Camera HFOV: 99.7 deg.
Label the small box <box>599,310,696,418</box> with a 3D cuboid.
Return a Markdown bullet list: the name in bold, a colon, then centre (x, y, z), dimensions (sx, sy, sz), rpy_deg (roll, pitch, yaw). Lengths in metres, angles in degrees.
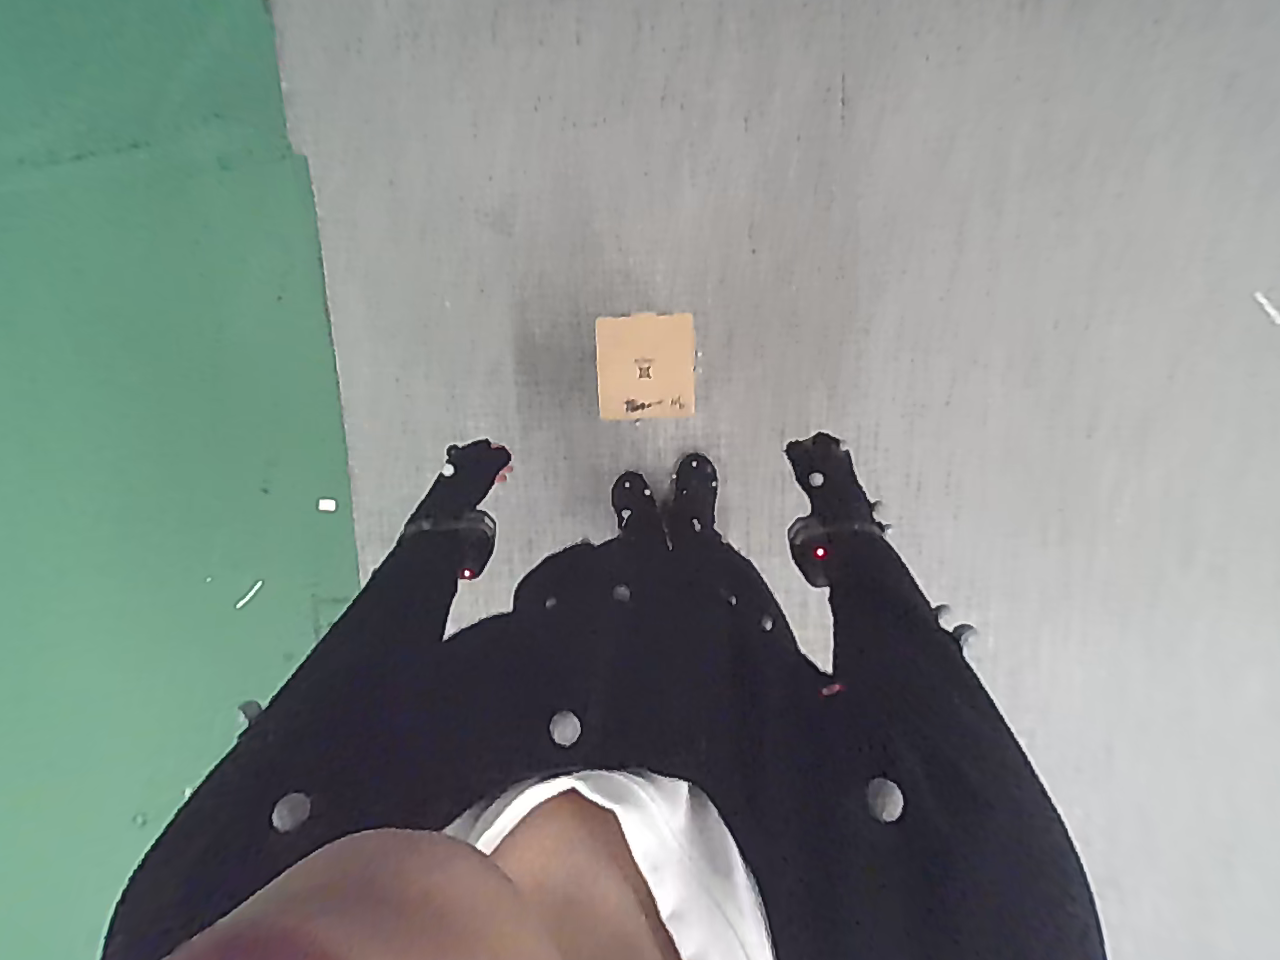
- **small box**: centre (0.018, -0.206, 0.997), dimensions (0.168, 0.176, 0.179), rpy_deg (-1, 97, 6)
